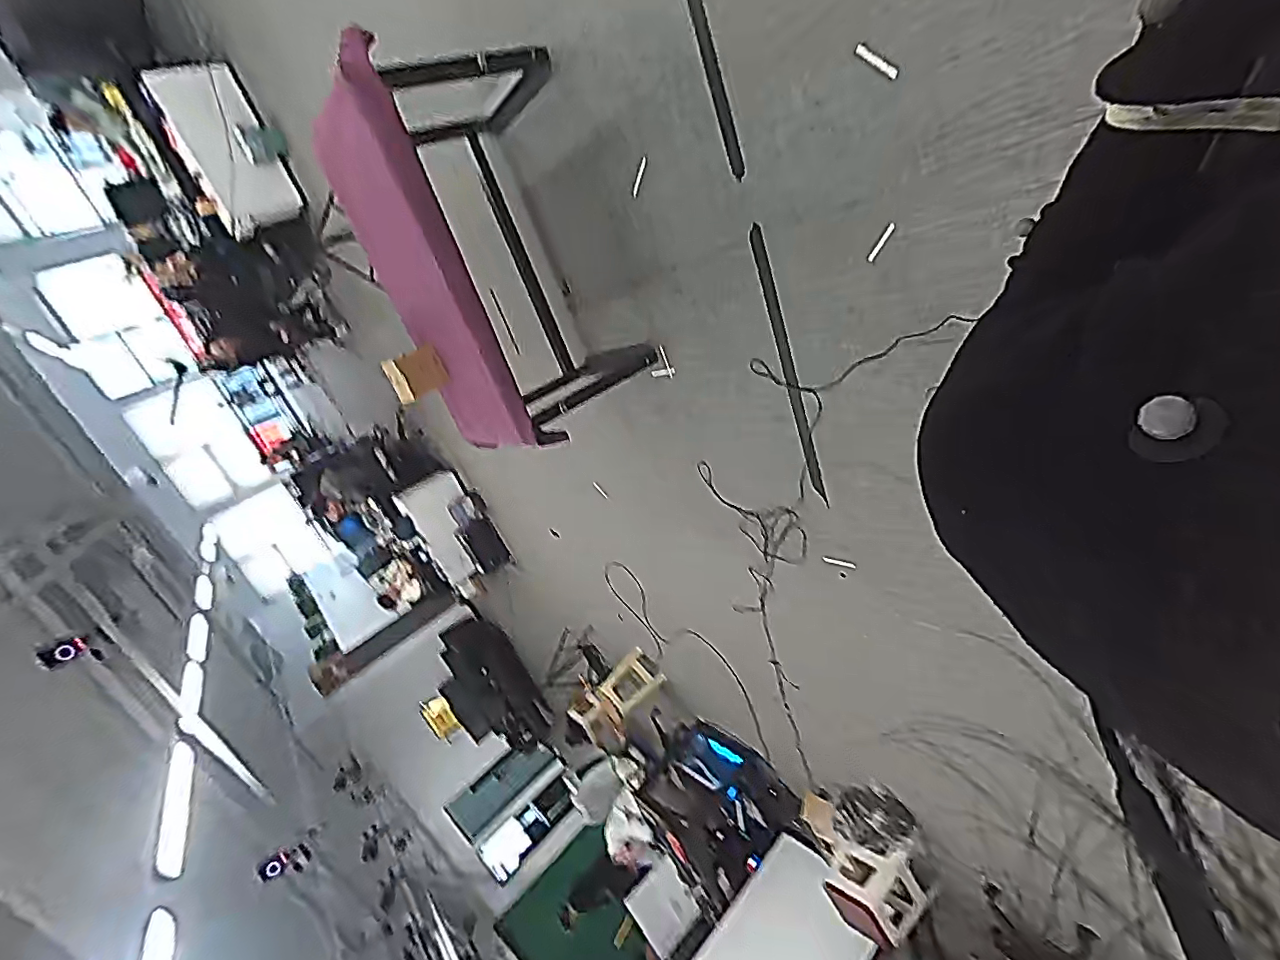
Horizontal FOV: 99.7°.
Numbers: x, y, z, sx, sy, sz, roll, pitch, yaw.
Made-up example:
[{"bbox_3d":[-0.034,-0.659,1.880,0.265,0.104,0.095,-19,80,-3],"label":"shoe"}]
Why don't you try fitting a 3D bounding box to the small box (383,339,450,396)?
[{"bbox_3d":[-0.886,-0.450,2.157,0.179,0.176,0.168,5,124,50],"label":"small box"}]
